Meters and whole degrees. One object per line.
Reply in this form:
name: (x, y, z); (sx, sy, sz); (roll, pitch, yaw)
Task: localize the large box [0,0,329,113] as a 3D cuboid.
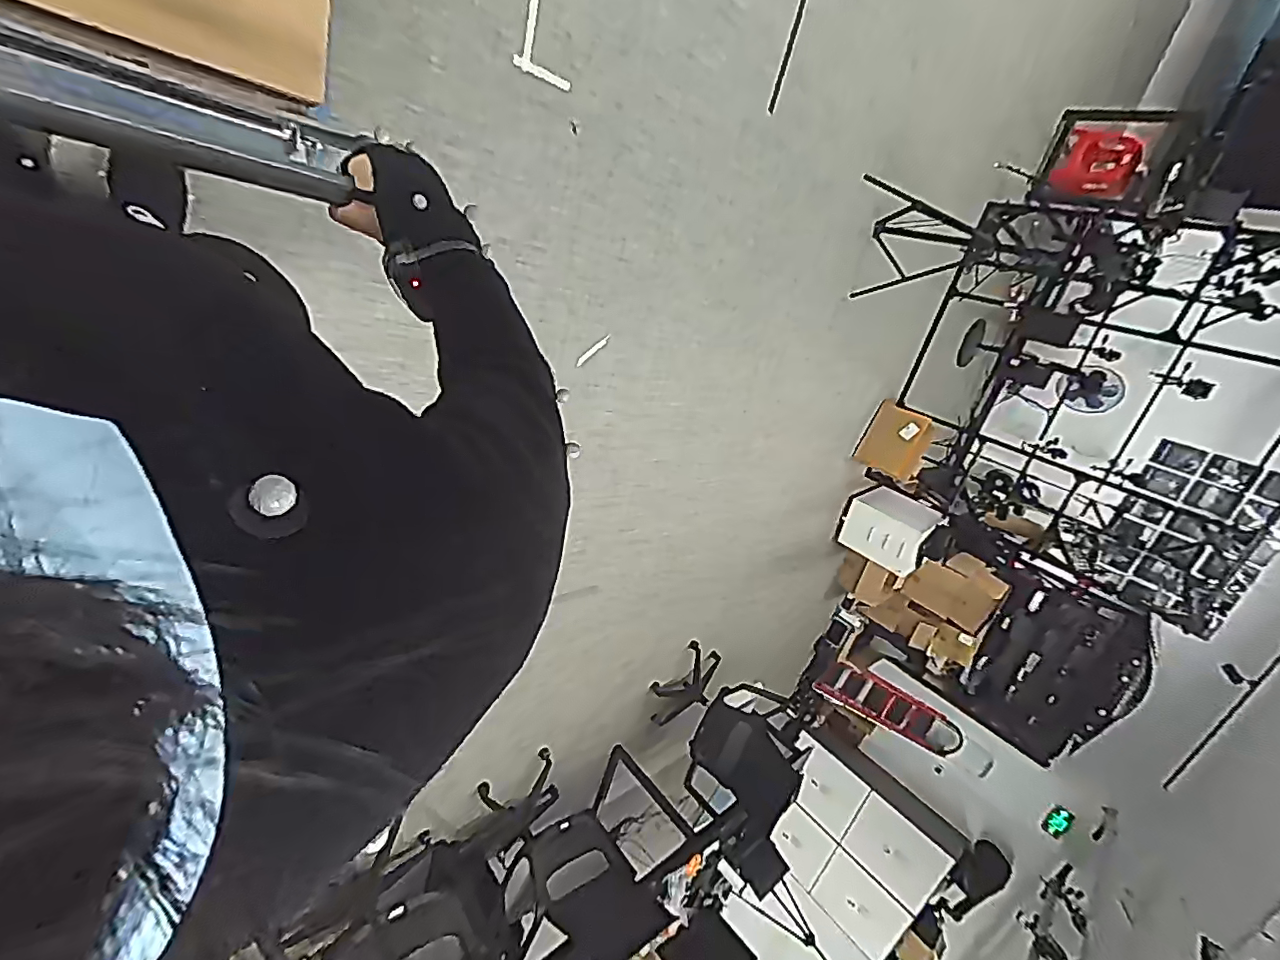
large box: (-0.652, -0.699, 0.666); (0.408, 0.320, 0.320); (-7, 121, -46)
